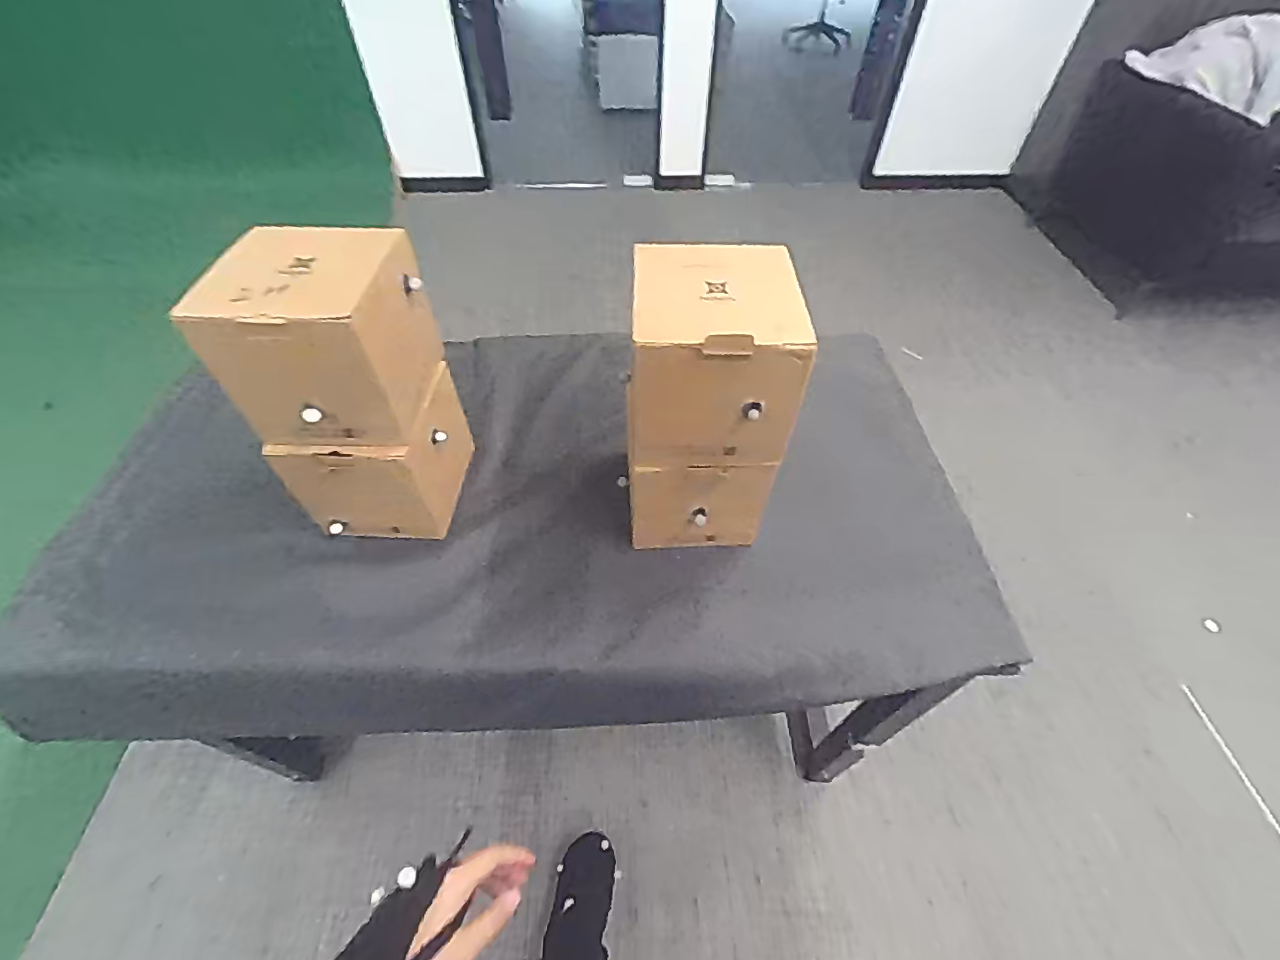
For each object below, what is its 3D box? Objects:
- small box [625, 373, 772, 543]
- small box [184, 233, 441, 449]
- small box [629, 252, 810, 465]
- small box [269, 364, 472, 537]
[{"bbox_3d":[0.066,-0.026,0.723,0.168,0.176,0.179,-2,51,-3],"label":"small box"},{"bbox_3d":[-0.340,-0.156,0.611,0.168,0.176,0.179,0,50,0],"label":"small box"},{"bbox_3d":[0.072,-0.130,0.598,0.168,0.176,0.179,1,49,-1],"label":"small box"},{"bbox_3d":[-0.340,-0.038,0.727,0.168,0.176,0.179,2,49,1],"label":"small box"}]
